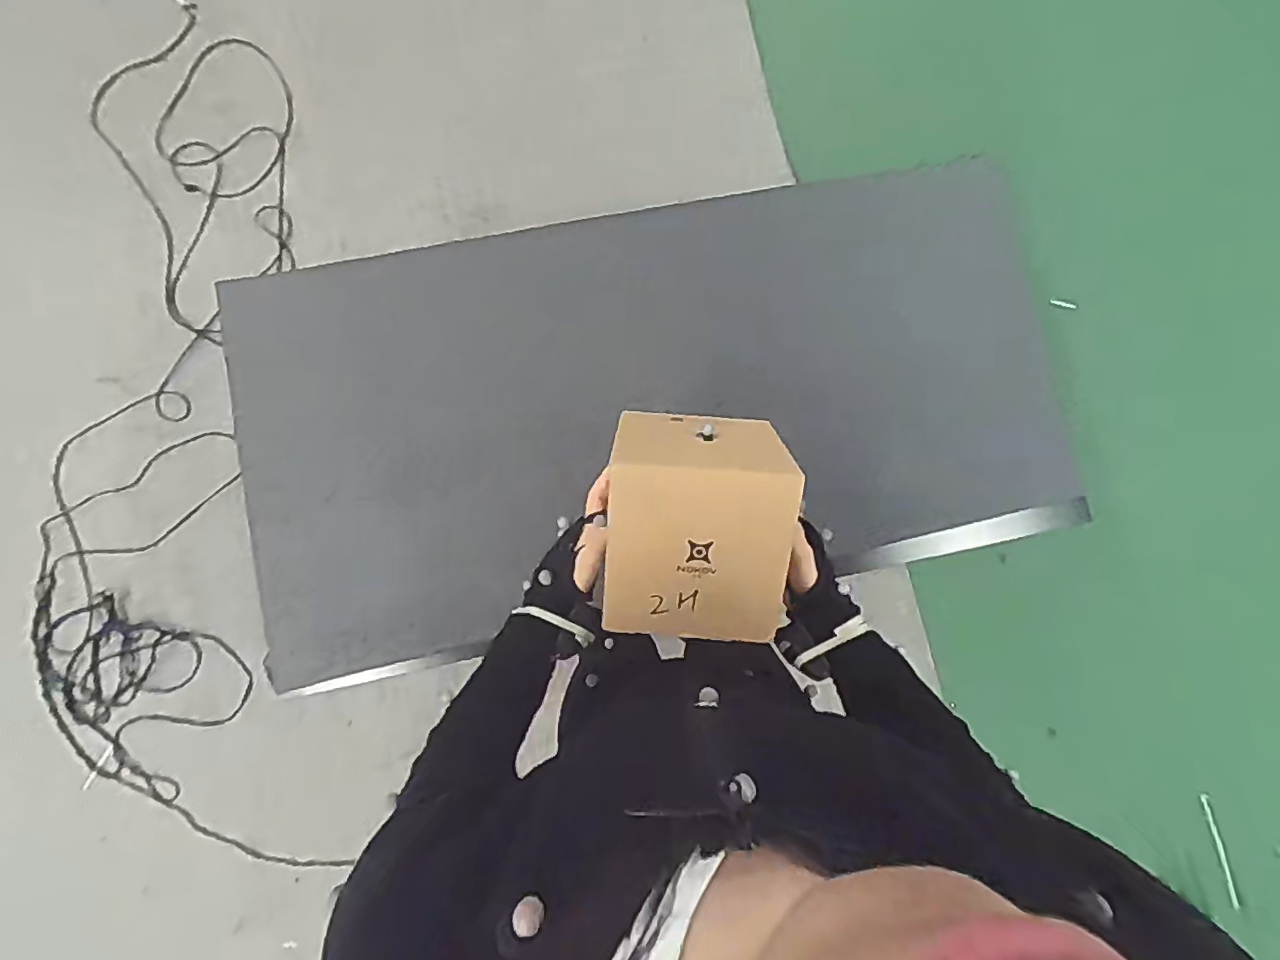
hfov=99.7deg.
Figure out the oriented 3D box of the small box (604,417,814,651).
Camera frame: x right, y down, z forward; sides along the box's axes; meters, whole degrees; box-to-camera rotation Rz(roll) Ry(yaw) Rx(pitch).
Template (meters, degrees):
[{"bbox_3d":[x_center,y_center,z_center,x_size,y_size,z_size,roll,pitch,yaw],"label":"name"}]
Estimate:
[{"bbox_3d":[0.056,0.041,0.538,0.168,0.176,0.179,5,111,1],"label":"small box"}]
